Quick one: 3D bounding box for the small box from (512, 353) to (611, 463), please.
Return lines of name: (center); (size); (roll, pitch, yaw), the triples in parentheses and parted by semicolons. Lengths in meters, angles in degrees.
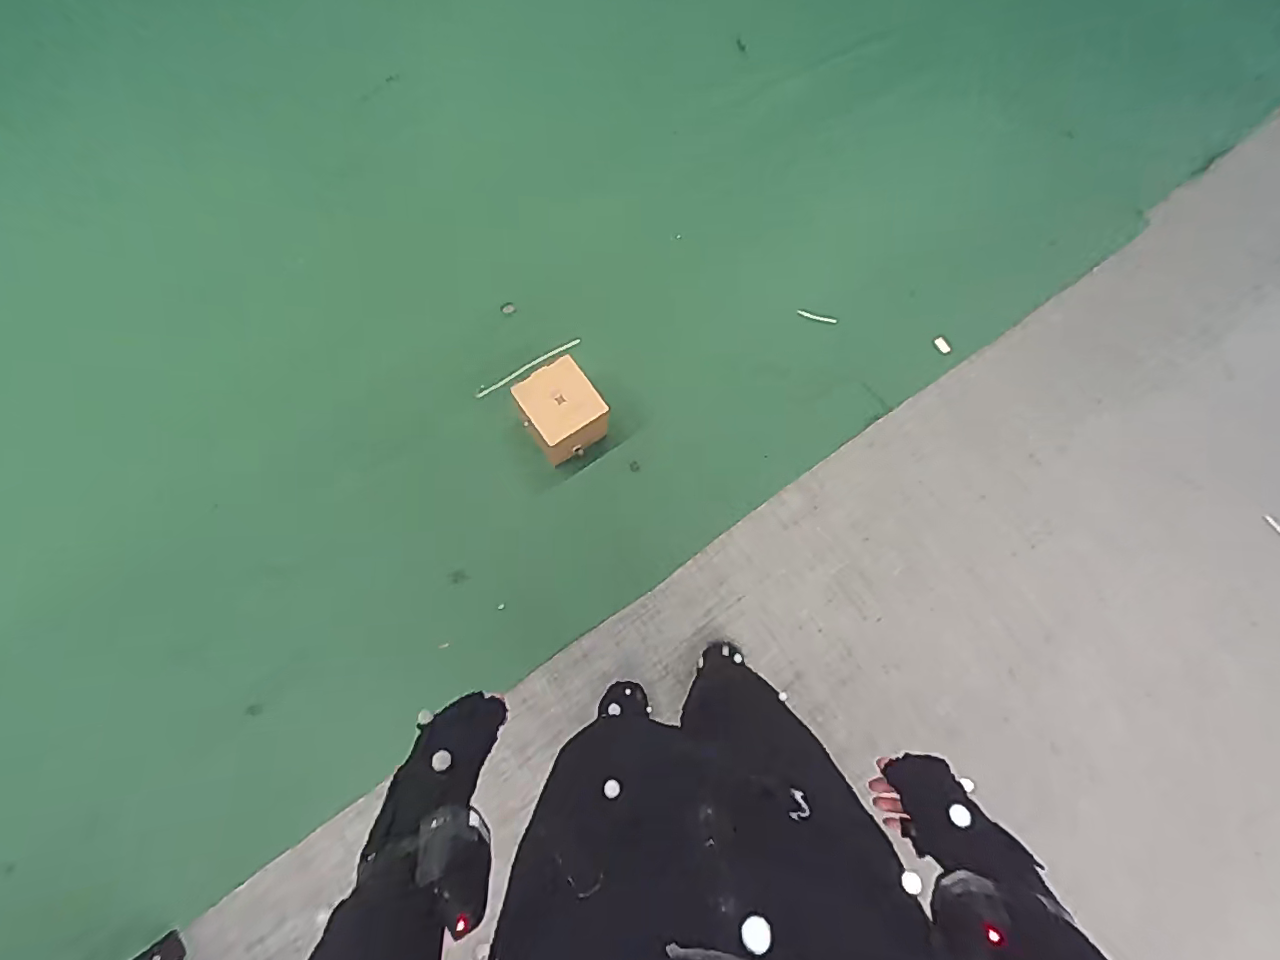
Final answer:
small box: (-0.184, -0.167, 1.304); (0.168, 0.176, 0.179); (-32, 80, -10)
